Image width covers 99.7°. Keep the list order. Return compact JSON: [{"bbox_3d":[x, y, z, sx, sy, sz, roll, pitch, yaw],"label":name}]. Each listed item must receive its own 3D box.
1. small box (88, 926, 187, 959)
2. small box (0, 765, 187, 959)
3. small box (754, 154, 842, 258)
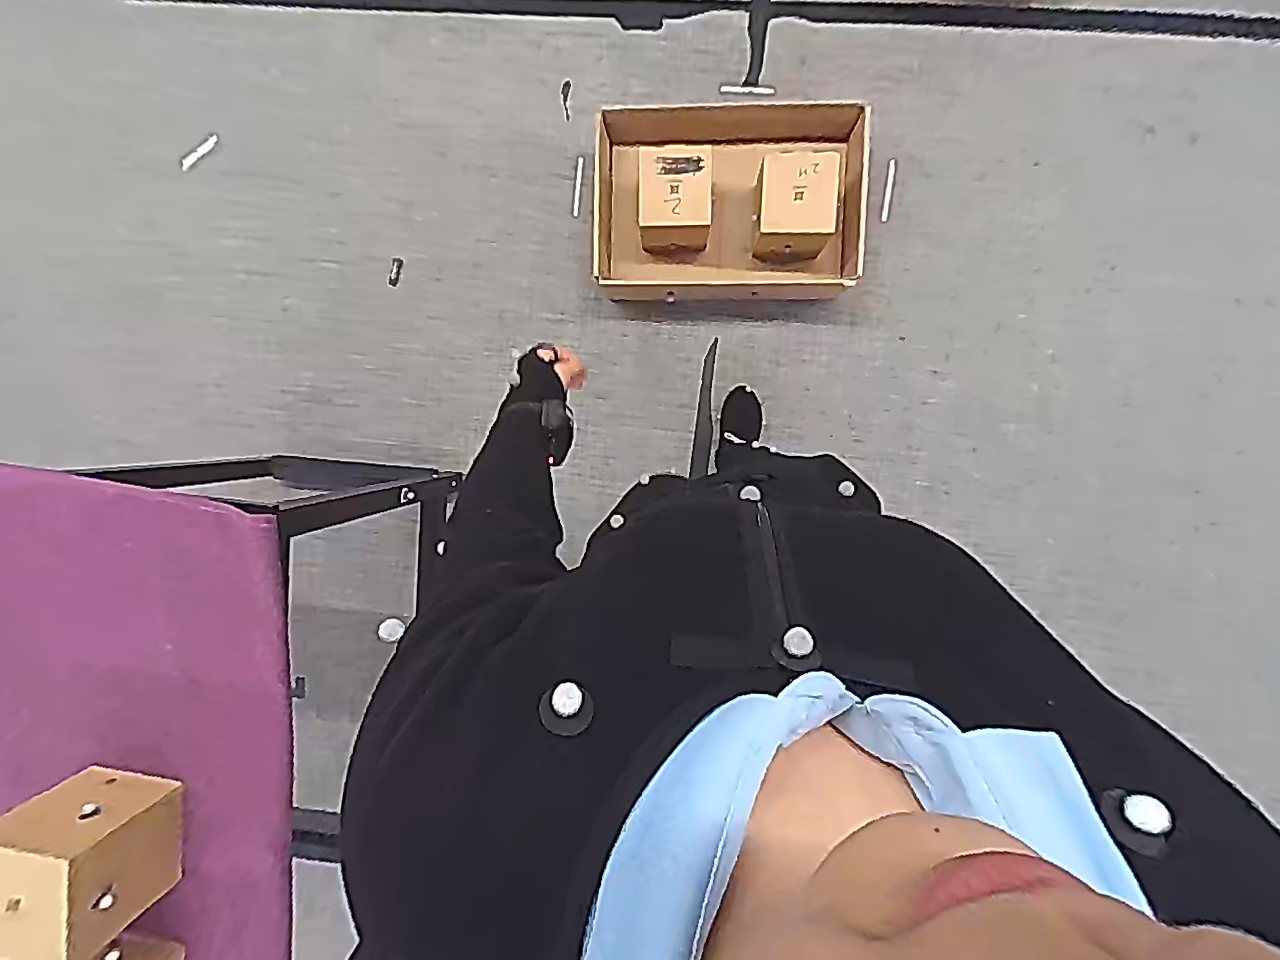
[{"bbox_3d":[-0.845,0.844,0.831,0.168,0.176,0.179,6,95,4],"label":"small box"},{"bbox_3d":[-0.824,0.561,0.806,0.168,0.176,0.179,7,96,5],"label":"small box"},{"bbox_3d":[0.364,-0.638,1.276,0.168,0.176,0.179,3,94,5],"label":"small box"}]
